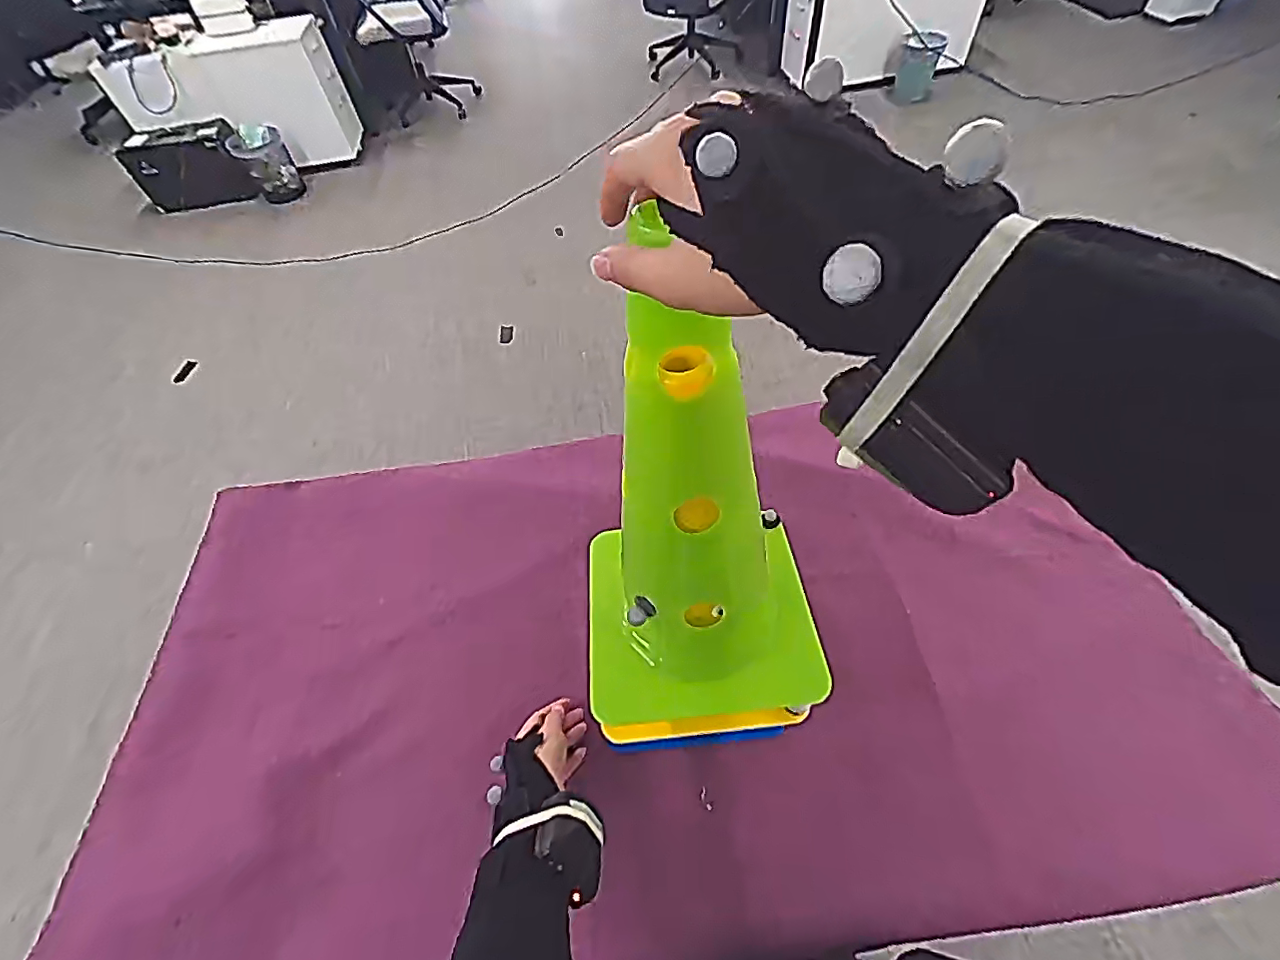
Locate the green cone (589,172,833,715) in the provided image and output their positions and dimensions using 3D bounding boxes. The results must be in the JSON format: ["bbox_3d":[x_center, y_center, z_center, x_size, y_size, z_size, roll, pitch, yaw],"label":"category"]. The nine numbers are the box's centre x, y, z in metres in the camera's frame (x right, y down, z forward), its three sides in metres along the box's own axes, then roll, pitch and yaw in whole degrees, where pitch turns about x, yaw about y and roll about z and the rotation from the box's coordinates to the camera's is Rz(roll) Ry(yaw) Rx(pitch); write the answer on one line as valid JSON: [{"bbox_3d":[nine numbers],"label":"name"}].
[{"bbox_3d":[0.033,-0.009,0.369,0.200,0.368,0.202,-8,48,2],"label":"green cone"}]
